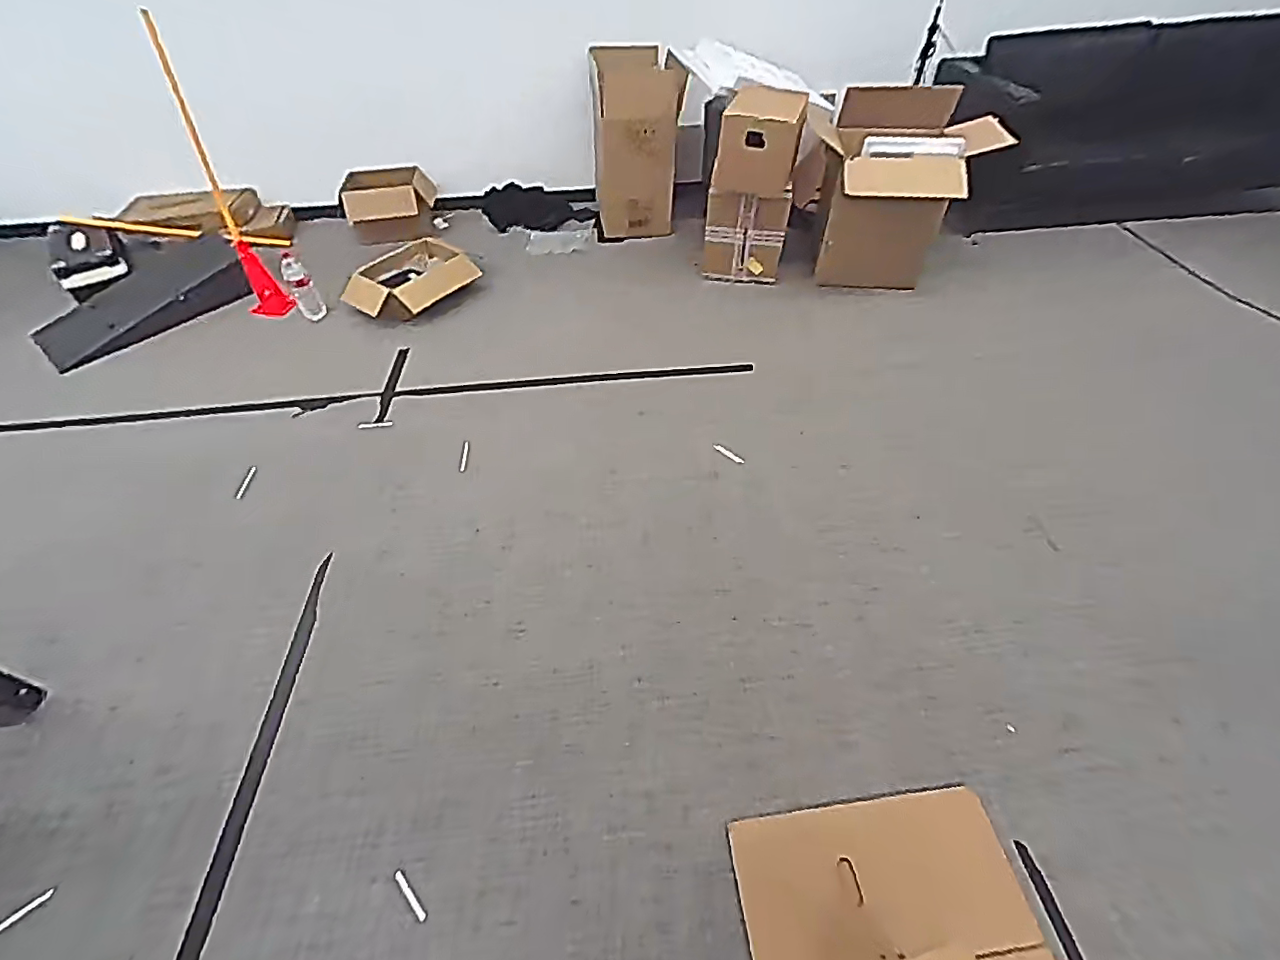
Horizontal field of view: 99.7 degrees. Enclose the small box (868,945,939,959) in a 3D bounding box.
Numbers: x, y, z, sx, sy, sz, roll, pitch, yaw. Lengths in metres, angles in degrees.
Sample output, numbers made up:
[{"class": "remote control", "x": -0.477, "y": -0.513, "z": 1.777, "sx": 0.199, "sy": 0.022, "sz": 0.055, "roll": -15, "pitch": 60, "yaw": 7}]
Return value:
[{"class": "small box", "x": 0.474, "y": 0.977, "z": 0.983, "sx": 0.179, "sy": 0.176, "sz": 0.168, "roll": -13, "pitch": 47, "yaw": -8}]
